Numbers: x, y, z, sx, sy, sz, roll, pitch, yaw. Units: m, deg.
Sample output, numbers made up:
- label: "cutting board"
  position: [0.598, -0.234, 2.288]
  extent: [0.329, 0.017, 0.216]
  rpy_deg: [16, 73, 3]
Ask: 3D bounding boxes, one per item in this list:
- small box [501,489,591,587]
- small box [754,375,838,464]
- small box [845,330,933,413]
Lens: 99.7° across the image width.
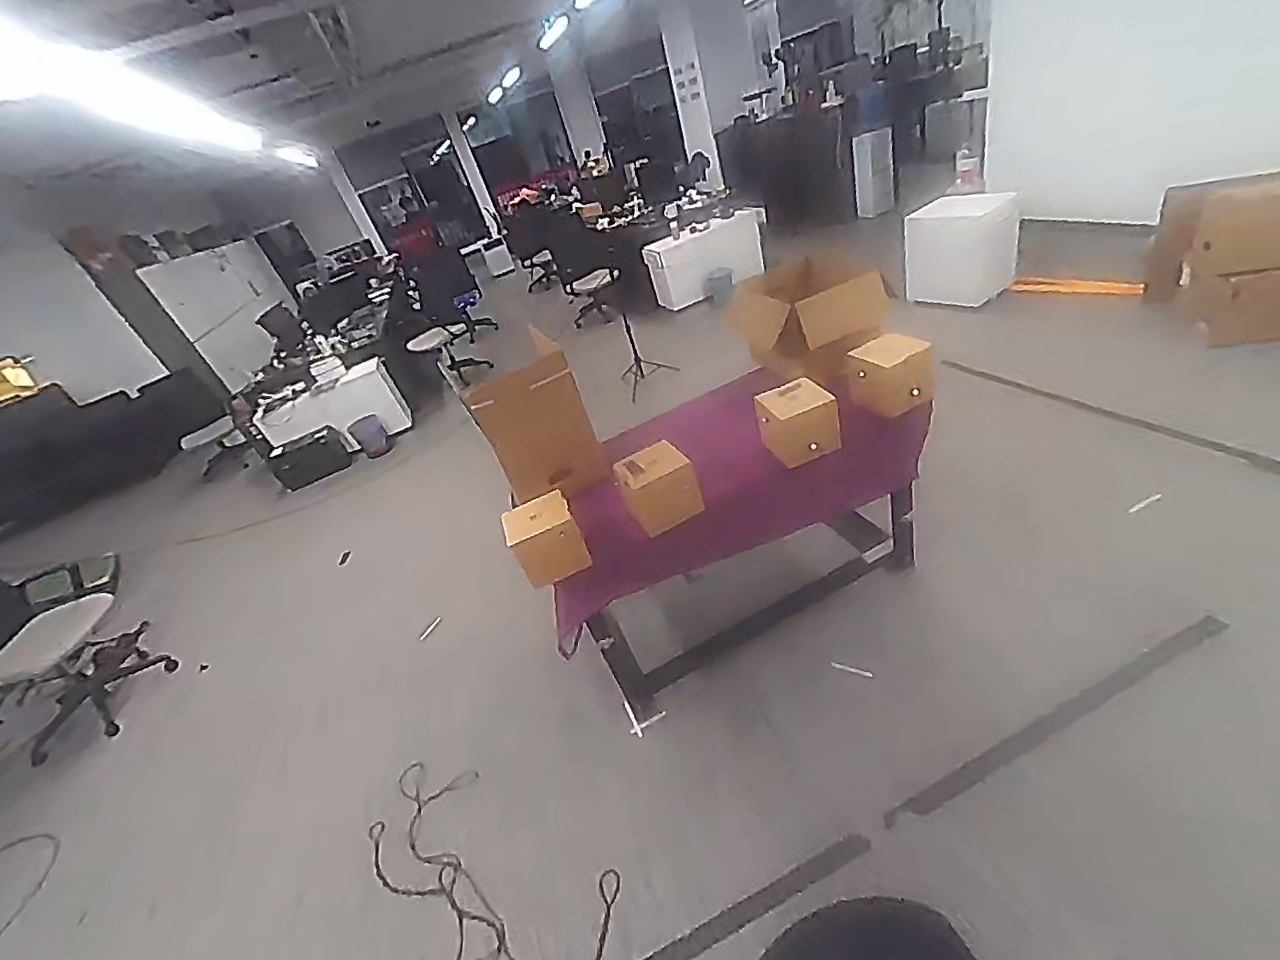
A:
- label: "small box"
  position: [-0.255, 0.158, 1.465]
  extent: [0.179, 0.176, 0.168]
  rpy_deg: [-24, 33, -8]
- label: "small box"
  position: [0.449, -0.173, 1.561]
  extent: [0.168, 0.176, 0.179]
  rpy_deg: [-23, 35, -3]
- label: "small box"
  position: [0.742, -0.323, 1.615]
  extent: [0.168, 0.176, 0.179]
  rpy_deg: [-27, 34, -8]
